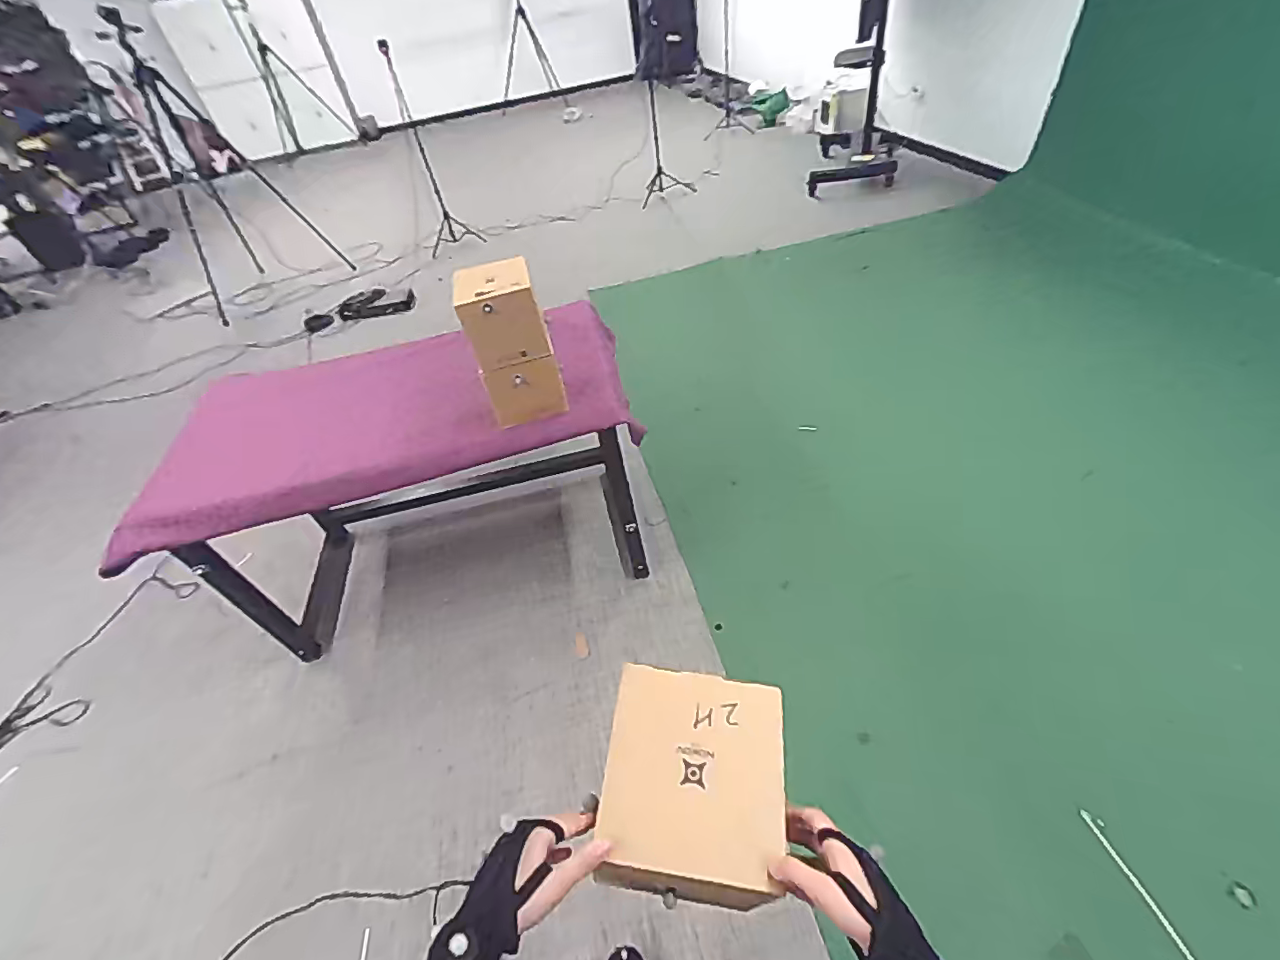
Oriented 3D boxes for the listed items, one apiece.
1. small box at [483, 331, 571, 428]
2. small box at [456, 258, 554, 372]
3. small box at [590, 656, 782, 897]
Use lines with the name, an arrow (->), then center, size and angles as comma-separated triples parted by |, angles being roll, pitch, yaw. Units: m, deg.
small box -> -0.278, -0.257, 1.344 | 0.179, 0.176, 0.168 | -18, 45, -3
small box -> -0.304, -0.373, 1.231 | 0.168, 0.176, 0.179 | -18, 44, -2
small box -> 0.048, 0.312, 0.566 | 0.168, 0.176, 0.179 | 7, 47, 4
